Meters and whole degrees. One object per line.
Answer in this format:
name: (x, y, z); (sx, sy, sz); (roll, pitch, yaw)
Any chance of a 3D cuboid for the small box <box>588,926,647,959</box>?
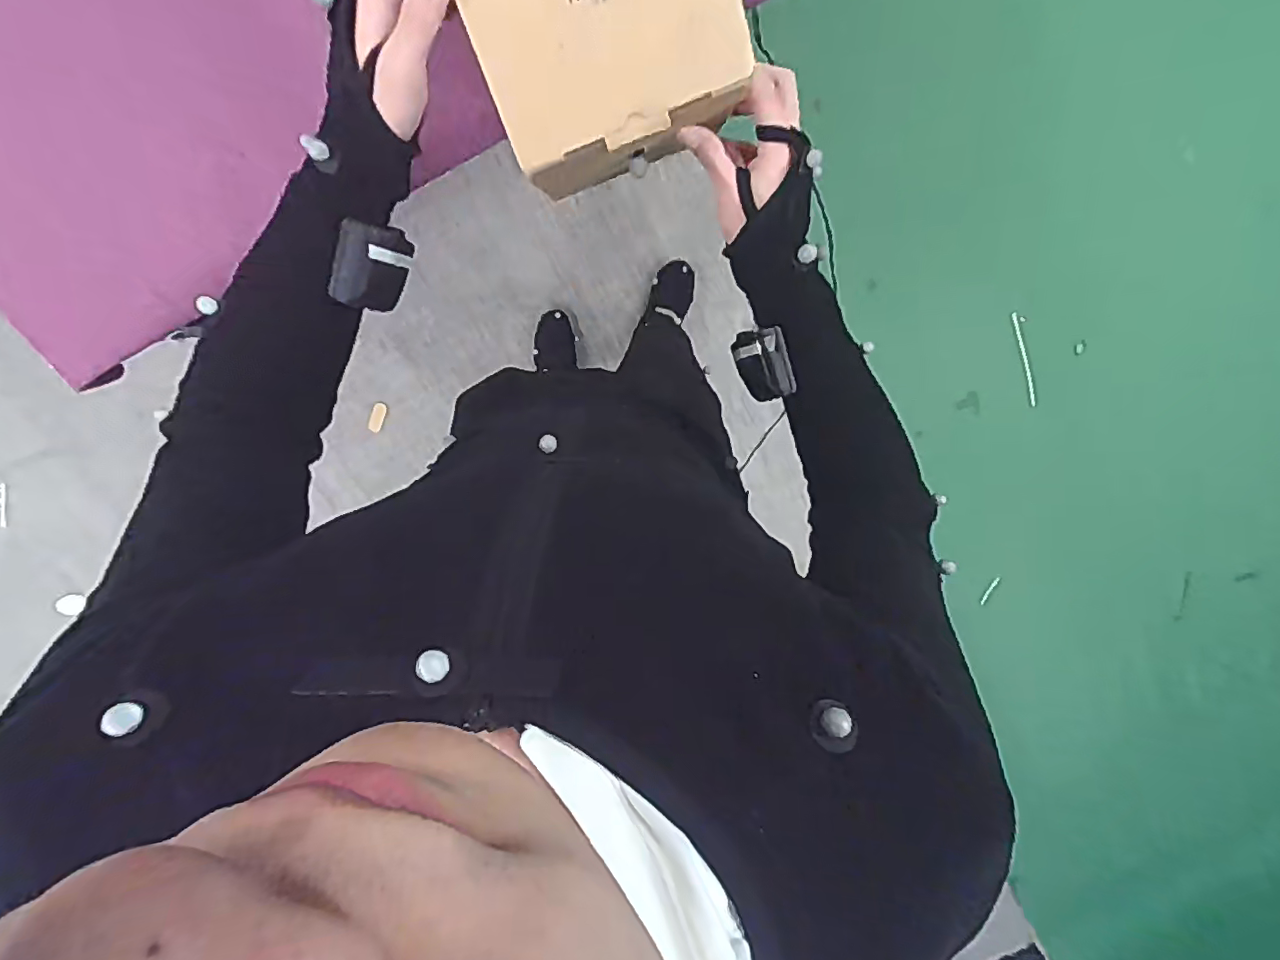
small box: (-0.061, 1.459, 1.594); (0.168, 0.176, 0.179); (-9, 109, -2)
